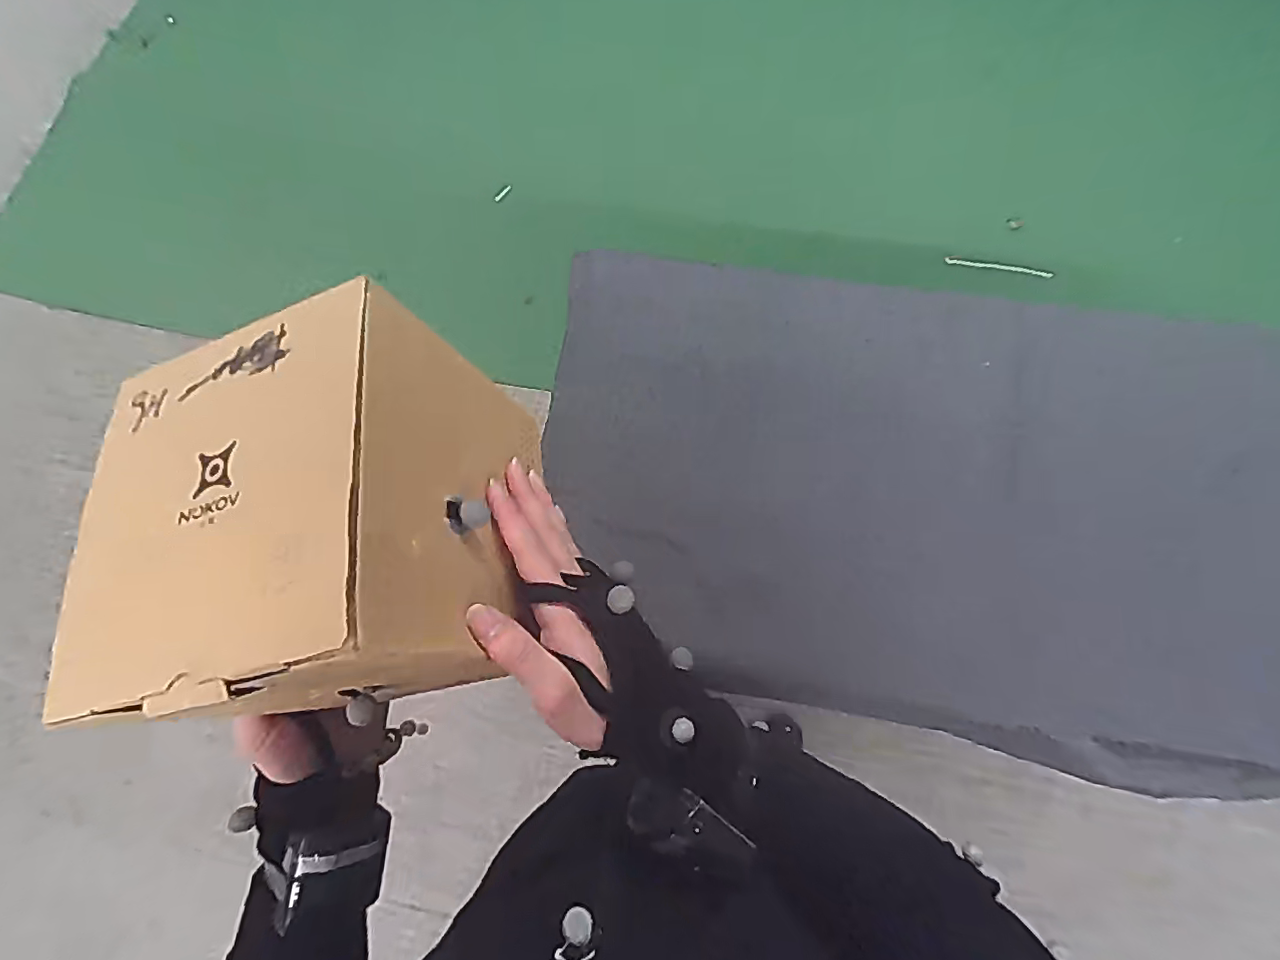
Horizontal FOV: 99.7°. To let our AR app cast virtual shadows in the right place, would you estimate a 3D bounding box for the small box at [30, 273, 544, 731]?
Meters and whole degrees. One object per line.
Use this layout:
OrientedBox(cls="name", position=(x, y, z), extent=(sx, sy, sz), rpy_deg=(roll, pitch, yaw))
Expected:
OrientedBox(cls="small box", position=(-0.168, 0.027, 0.309), extent=(0.168, 0.176, 0.179), rpy_deg=(-16, 68, 12))
